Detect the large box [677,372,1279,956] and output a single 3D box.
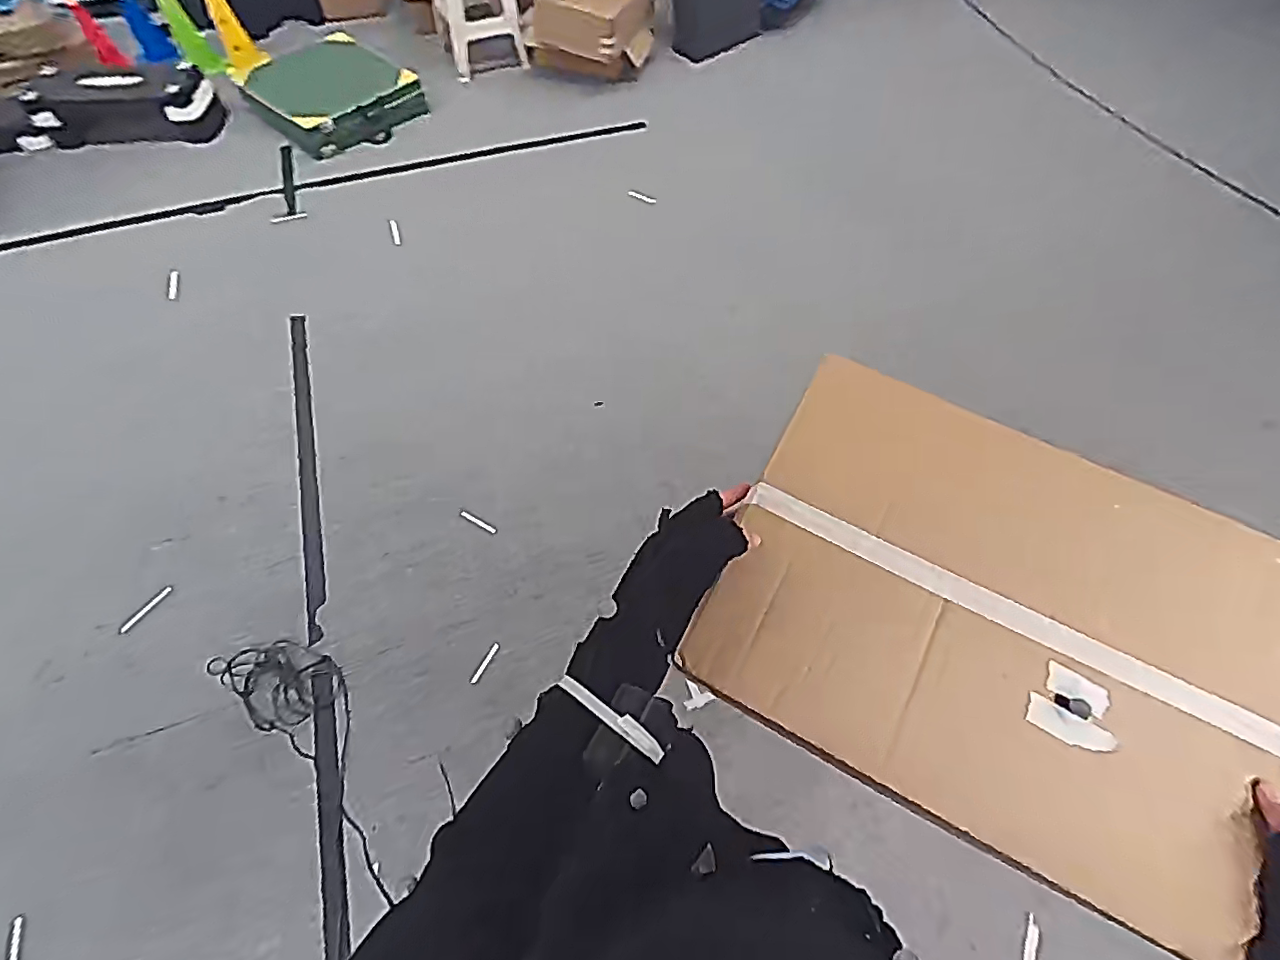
[{"bbox_3d":[0.284,0.155,0.574,0.408,0.320,0.320,27,74,11],"label":"large box"}]
